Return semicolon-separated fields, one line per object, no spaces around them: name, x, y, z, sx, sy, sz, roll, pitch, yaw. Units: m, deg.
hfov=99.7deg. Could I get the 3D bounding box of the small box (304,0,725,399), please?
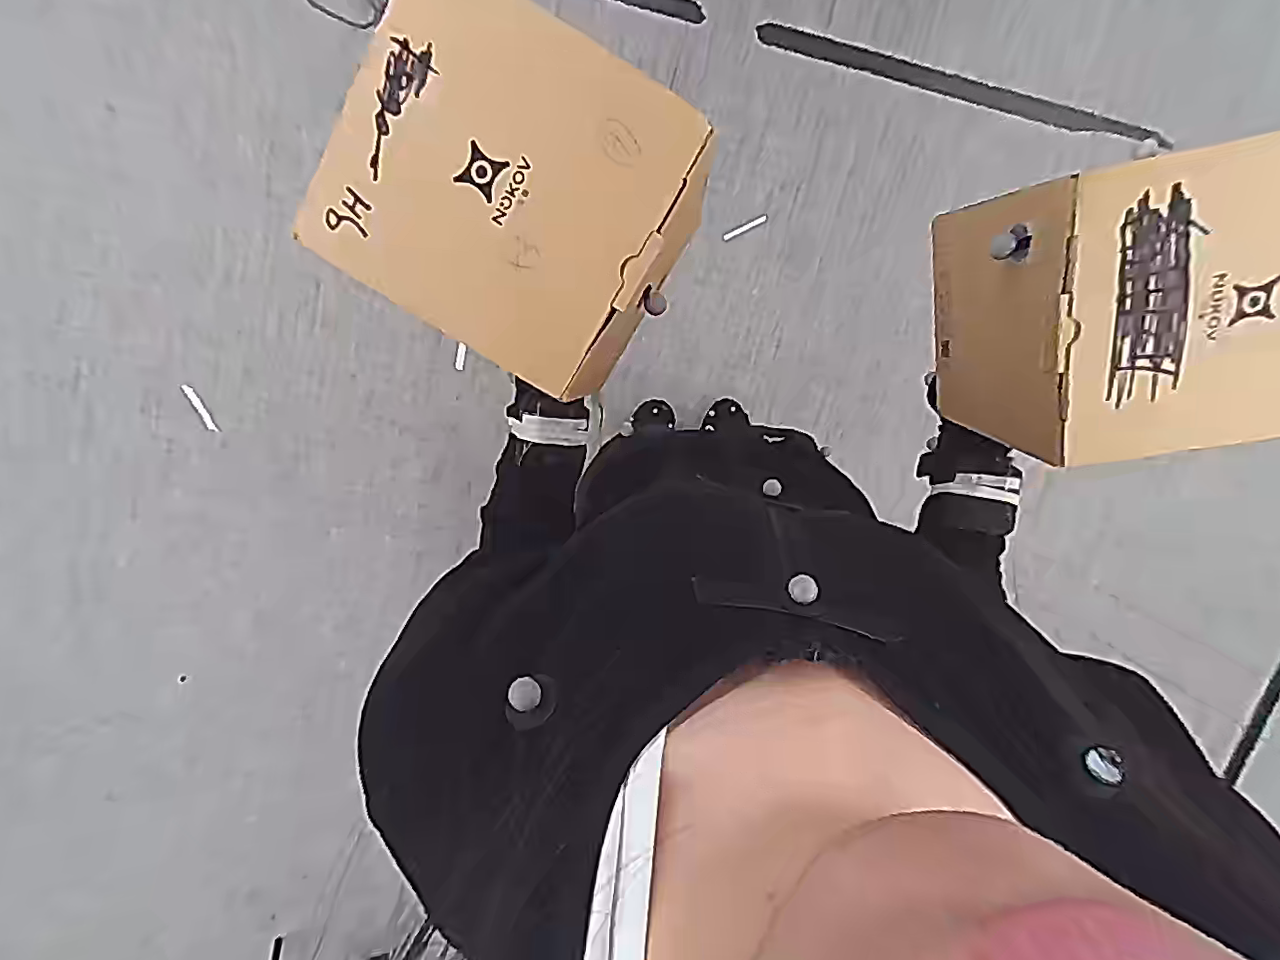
small box;-0.067;-0.174;0.364;0.179;0.176;0.168;31;101;-4
